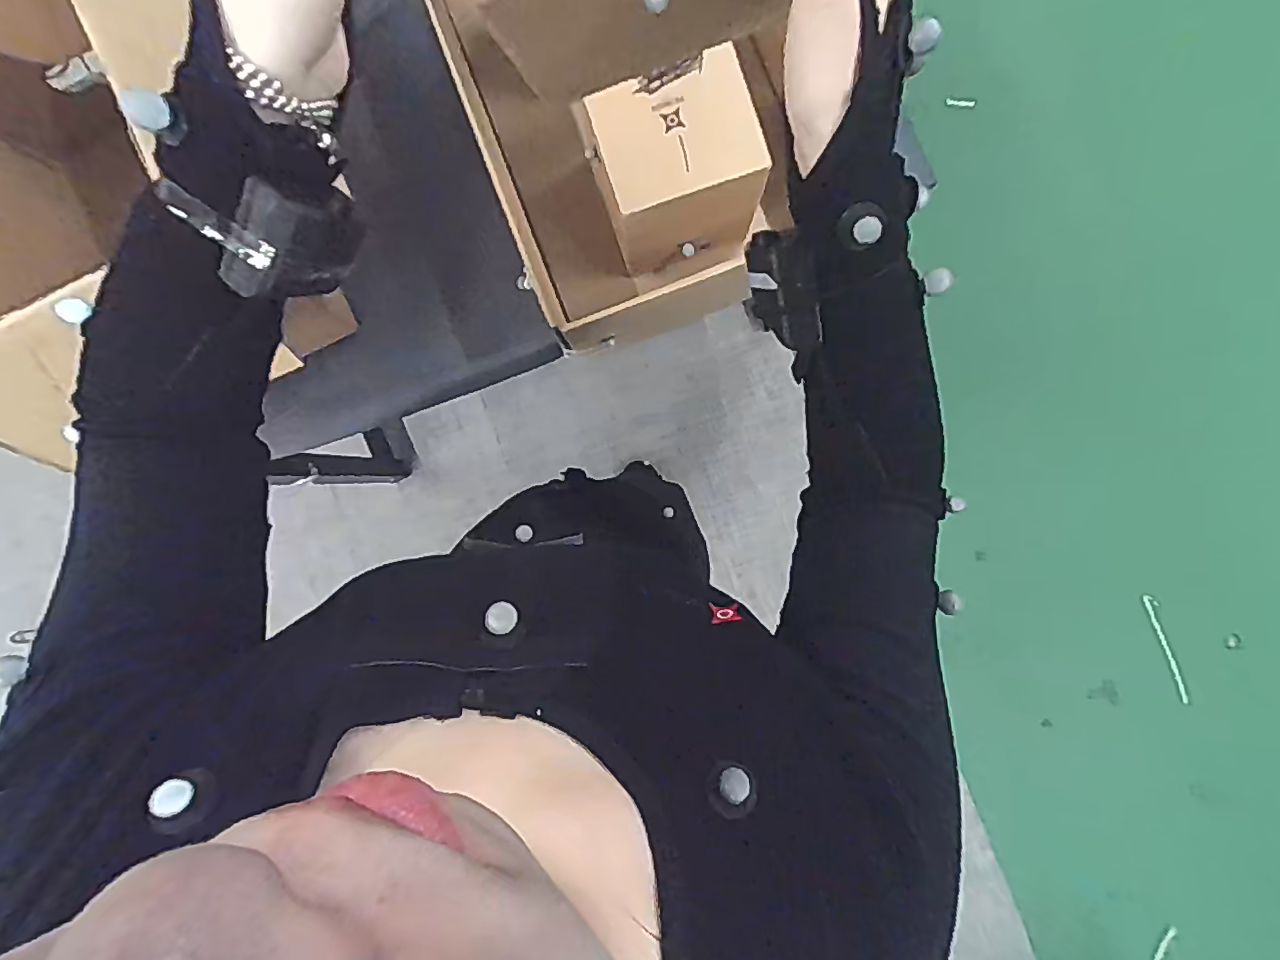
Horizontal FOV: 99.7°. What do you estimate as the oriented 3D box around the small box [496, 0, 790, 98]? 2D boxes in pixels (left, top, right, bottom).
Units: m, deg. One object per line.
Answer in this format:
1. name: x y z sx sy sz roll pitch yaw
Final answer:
1. small box: -0.005 -0.330 0.271 0.179 0.176 0.168 -15 109 9
